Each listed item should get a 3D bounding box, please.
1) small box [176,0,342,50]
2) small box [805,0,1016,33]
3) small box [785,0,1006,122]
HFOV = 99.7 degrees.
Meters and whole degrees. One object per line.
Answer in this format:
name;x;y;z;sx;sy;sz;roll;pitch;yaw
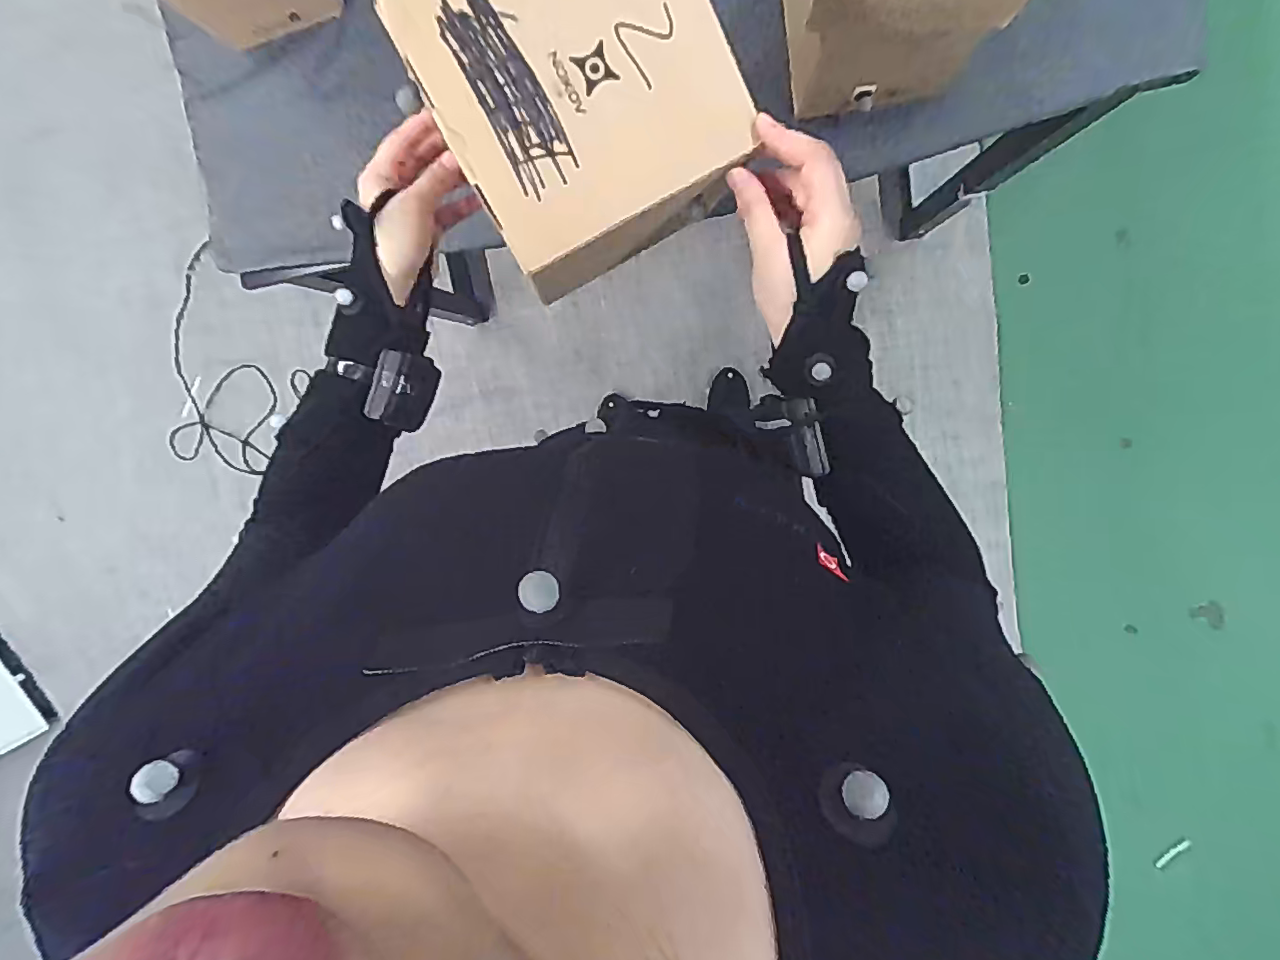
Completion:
small box;-0.476;-0.641;0.602;0.168;0.176;0.179;-12;100;8
small box;0.229;-0.465;0.389;0.179;0.176;0.168;3;100;7
small box;0.245;-0.507;0.545;0.168;0.176;0.179;-7;99;9
